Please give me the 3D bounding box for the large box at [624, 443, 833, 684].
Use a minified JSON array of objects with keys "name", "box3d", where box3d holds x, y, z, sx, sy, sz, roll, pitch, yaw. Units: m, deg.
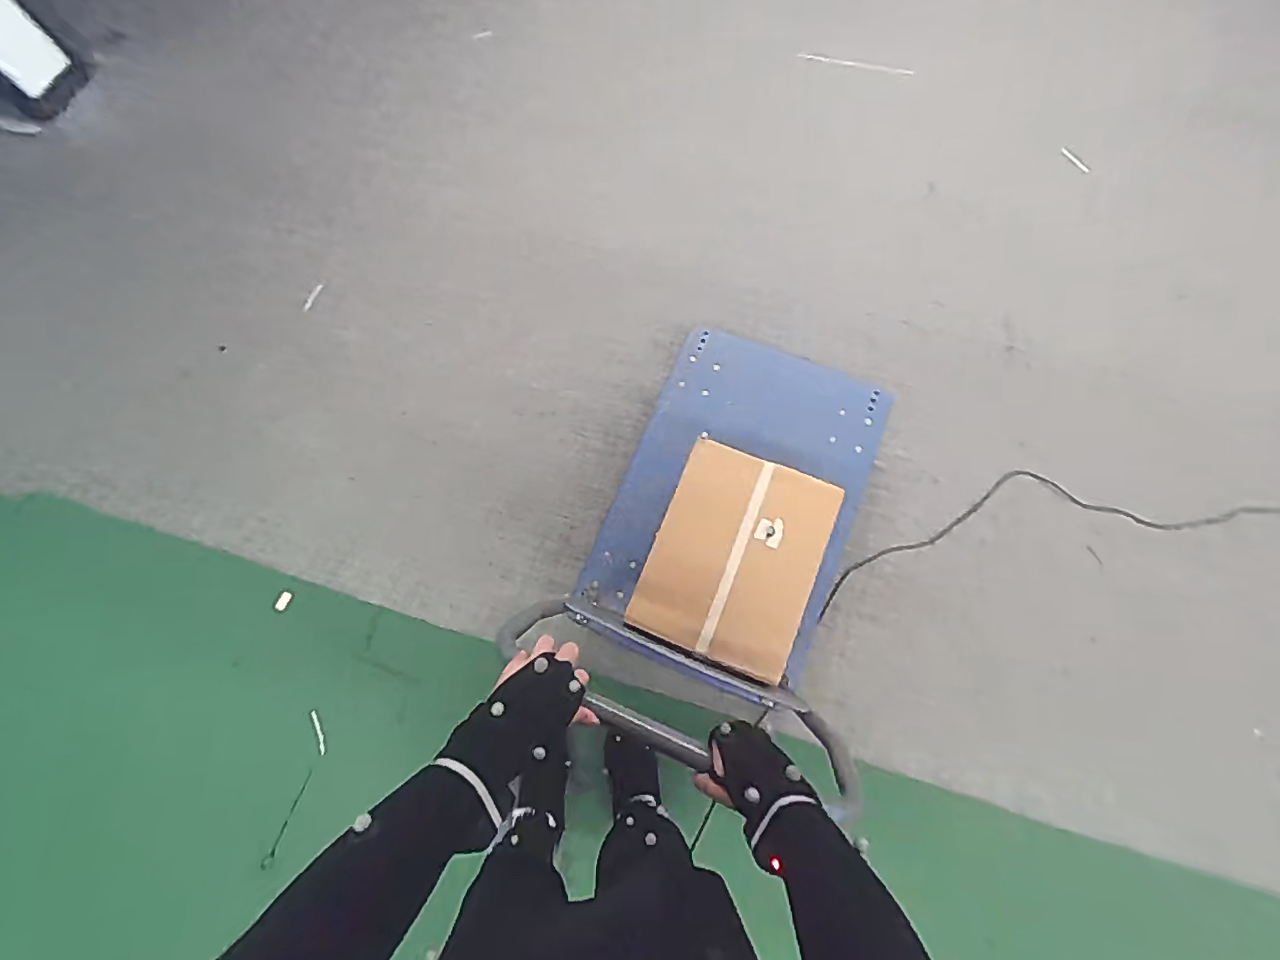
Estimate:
[{"name":"large box","box3d":[0.186,0.191,1.206,0.320,0.320,0.408,21,77,8]}]
